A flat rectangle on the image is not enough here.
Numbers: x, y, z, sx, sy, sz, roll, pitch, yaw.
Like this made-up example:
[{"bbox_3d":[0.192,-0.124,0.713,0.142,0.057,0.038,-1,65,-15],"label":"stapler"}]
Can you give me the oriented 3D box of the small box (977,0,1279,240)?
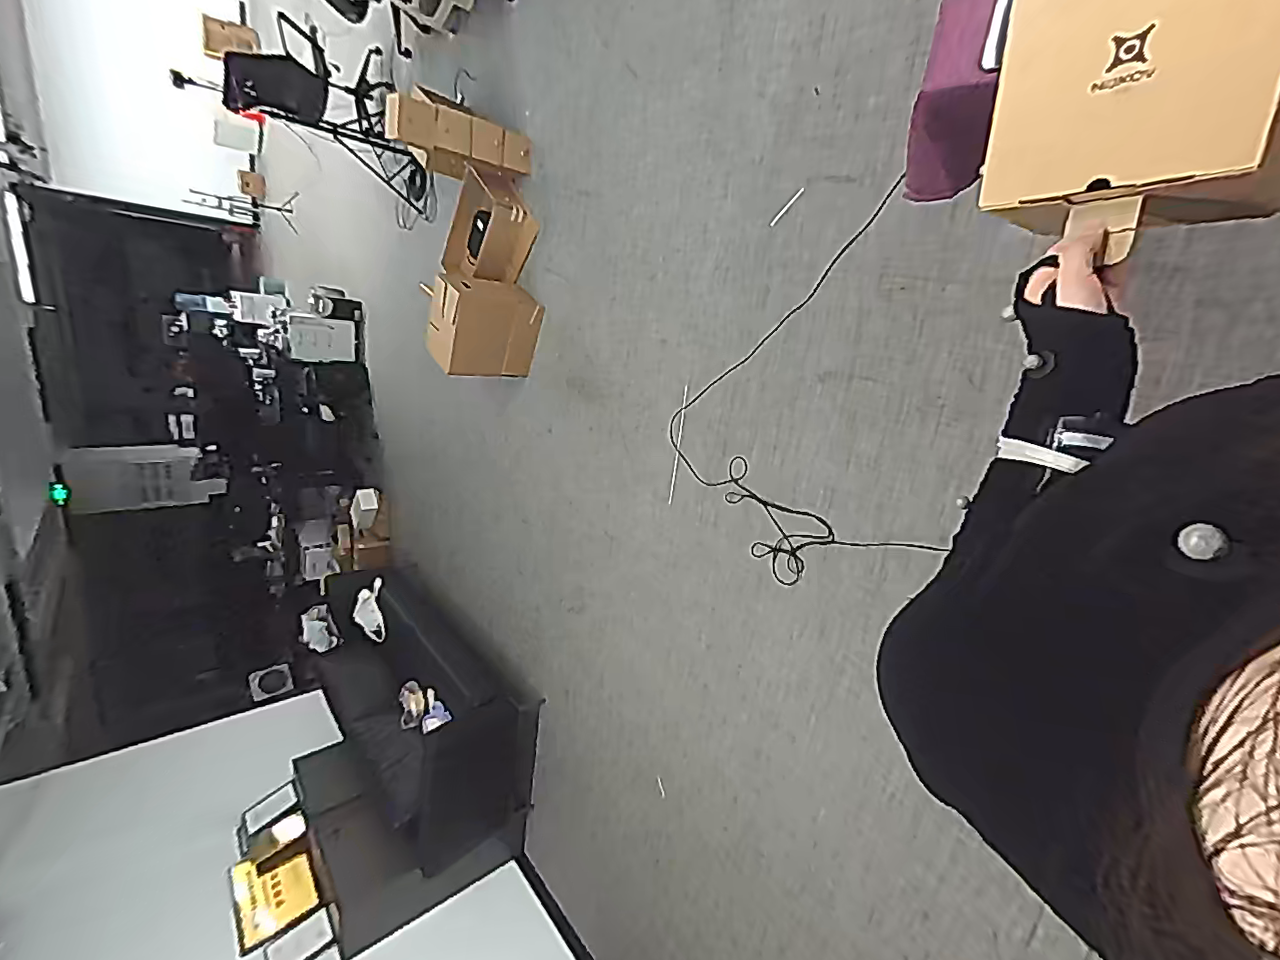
[{"bbox_3d":[0.411,-0.309,0.441,0.168,0.176,0.179,19,113,49],"label":"small box"}]
